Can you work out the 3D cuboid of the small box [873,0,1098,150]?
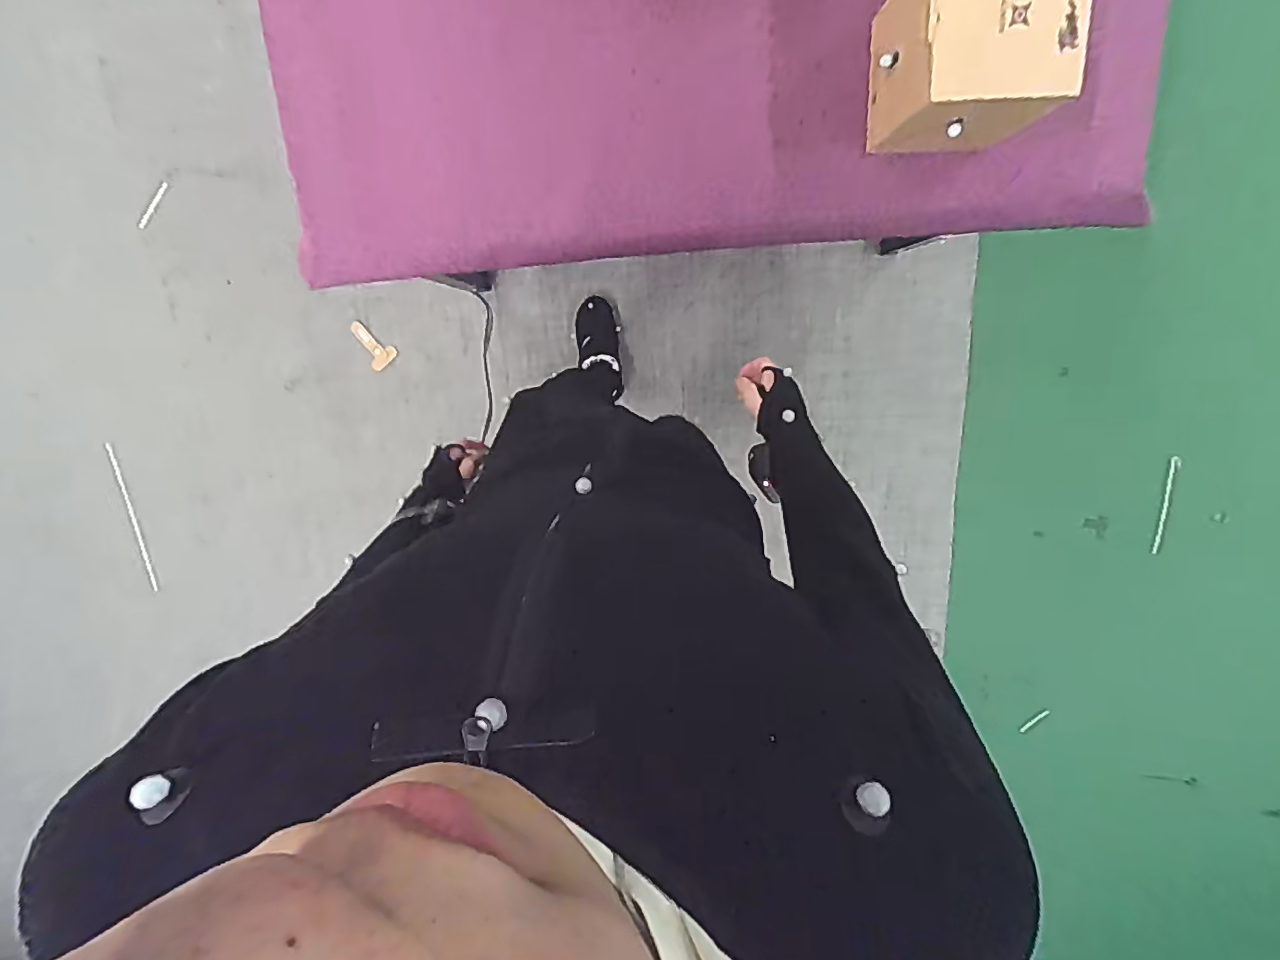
[{"bbox_3d":[0.400,-0.519,0.653,0.179,0.176,0.168,-2,104,1],"label":"small box"}]

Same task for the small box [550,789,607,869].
[{"bbox_3d":[-0.204,1.186,1.845,0.179,0.176,0.168,-1,105,1],"label":"small box"}]
